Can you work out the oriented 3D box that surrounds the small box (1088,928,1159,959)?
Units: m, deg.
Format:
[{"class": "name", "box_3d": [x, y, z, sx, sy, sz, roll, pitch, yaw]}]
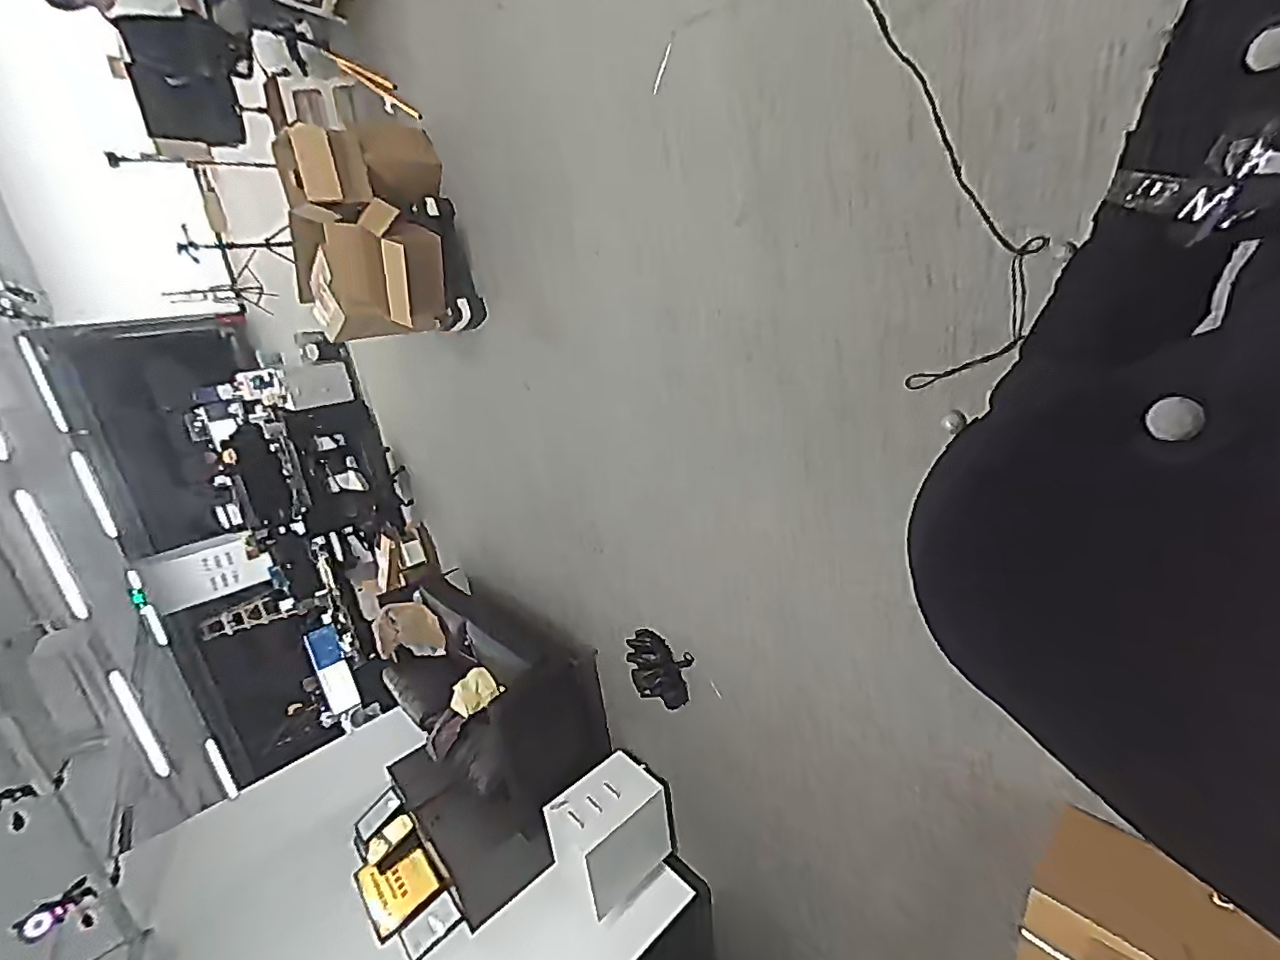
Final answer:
[{"class": "small box", "box_3d": [1.025, 1.094, 1.112, 0.168, 0.176, 0.179, 8, 113, 50]}]
